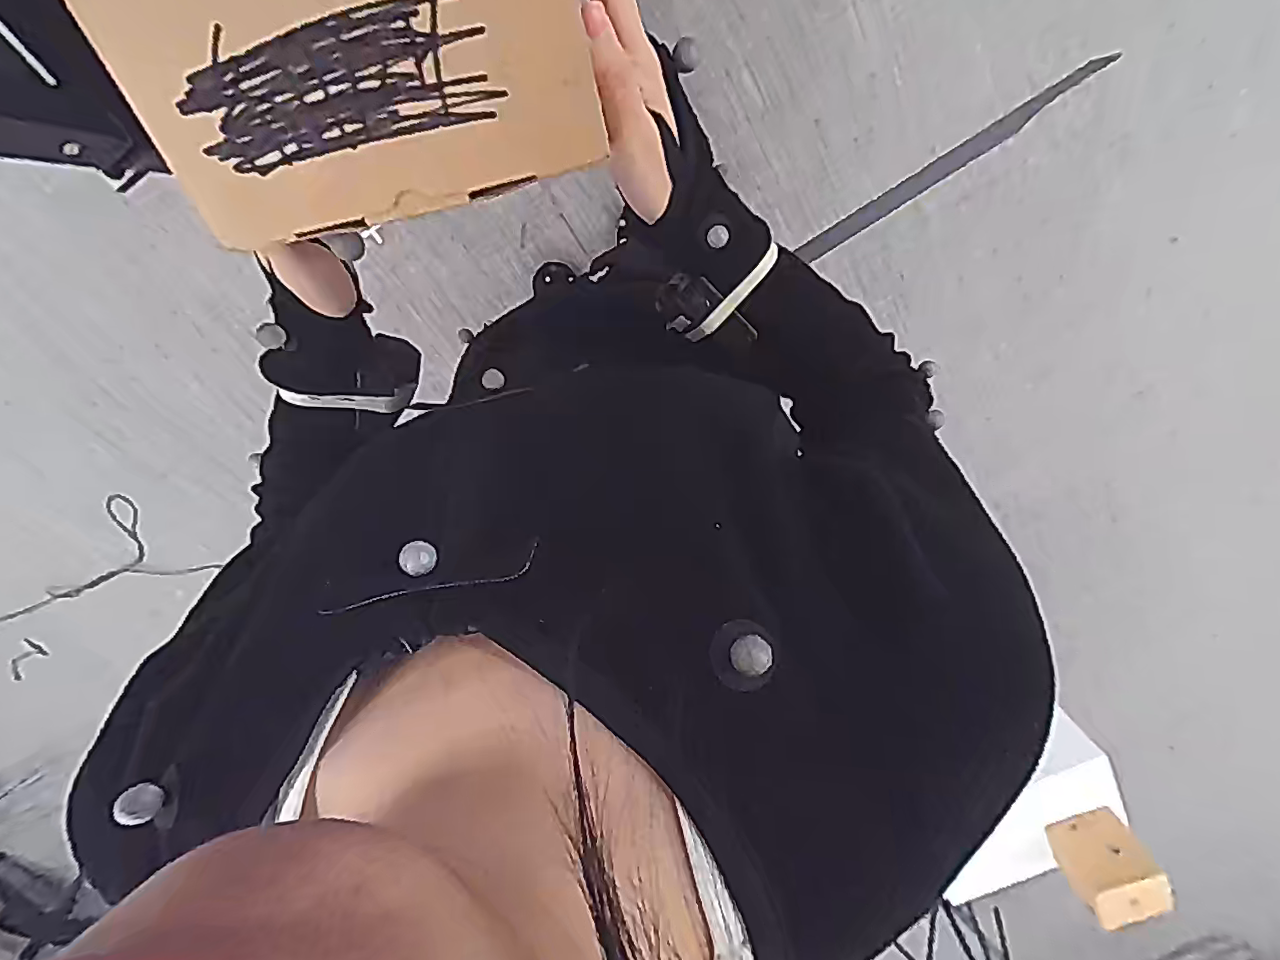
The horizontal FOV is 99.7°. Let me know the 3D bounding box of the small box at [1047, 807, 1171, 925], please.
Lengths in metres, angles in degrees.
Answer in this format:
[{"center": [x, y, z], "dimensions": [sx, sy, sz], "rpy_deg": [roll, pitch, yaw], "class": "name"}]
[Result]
[{"center": [1.163, 0.953, 1.352], "dimensions": [0.168, 0.176, 0.179], "rpy_deg": [-26, 114, 9], "class": "small box"}]
